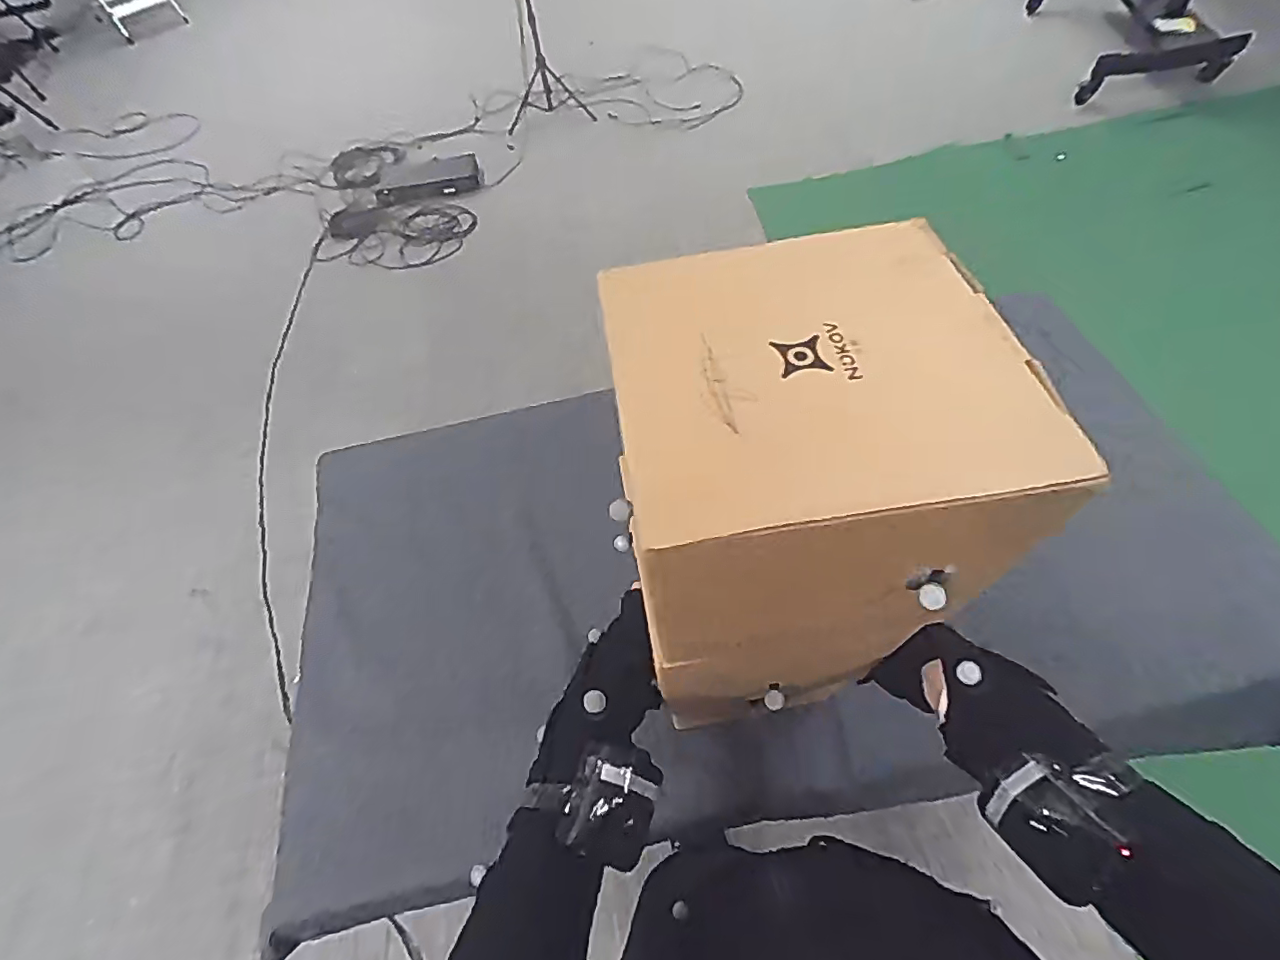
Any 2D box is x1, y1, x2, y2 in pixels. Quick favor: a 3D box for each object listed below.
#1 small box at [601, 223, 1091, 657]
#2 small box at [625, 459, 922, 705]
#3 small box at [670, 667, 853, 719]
[{"bbox_3d":[0.082,-0.011,0.311,0.179,0.176,0.168,-10,57,1],"label":"small box"},{"bbox_3d":[0.088,0.075,0.449,0.179,0.176,0.168,-9,56,-1],"label":"small box"},{"bbox_3d":[0.105,0.152,0.592,0.179,0.176,0.168,-11,58,0],"label":"small box"}]
